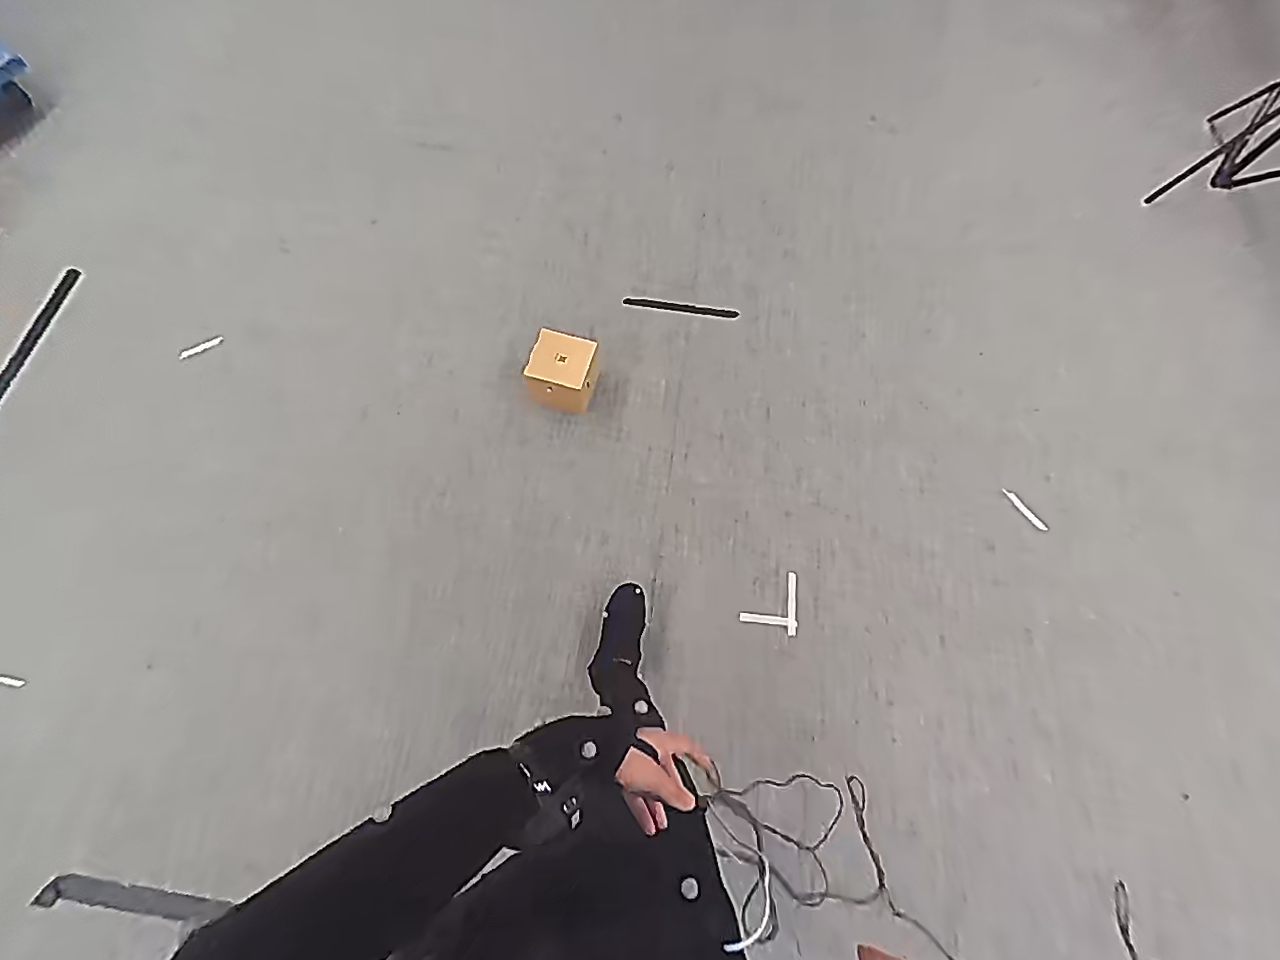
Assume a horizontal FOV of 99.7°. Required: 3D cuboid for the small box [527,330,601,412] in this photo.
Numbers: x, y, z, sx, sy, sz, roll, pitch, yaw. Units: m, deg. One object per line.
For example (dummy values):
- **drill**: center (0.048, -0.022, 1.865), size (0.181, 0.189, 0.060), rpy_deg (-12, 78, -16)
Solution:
- **small box**: center (-0.222, -0.324, 1.643), size (0.179, 0.176, 0.168), rpy_deg (16, 71, 5)
